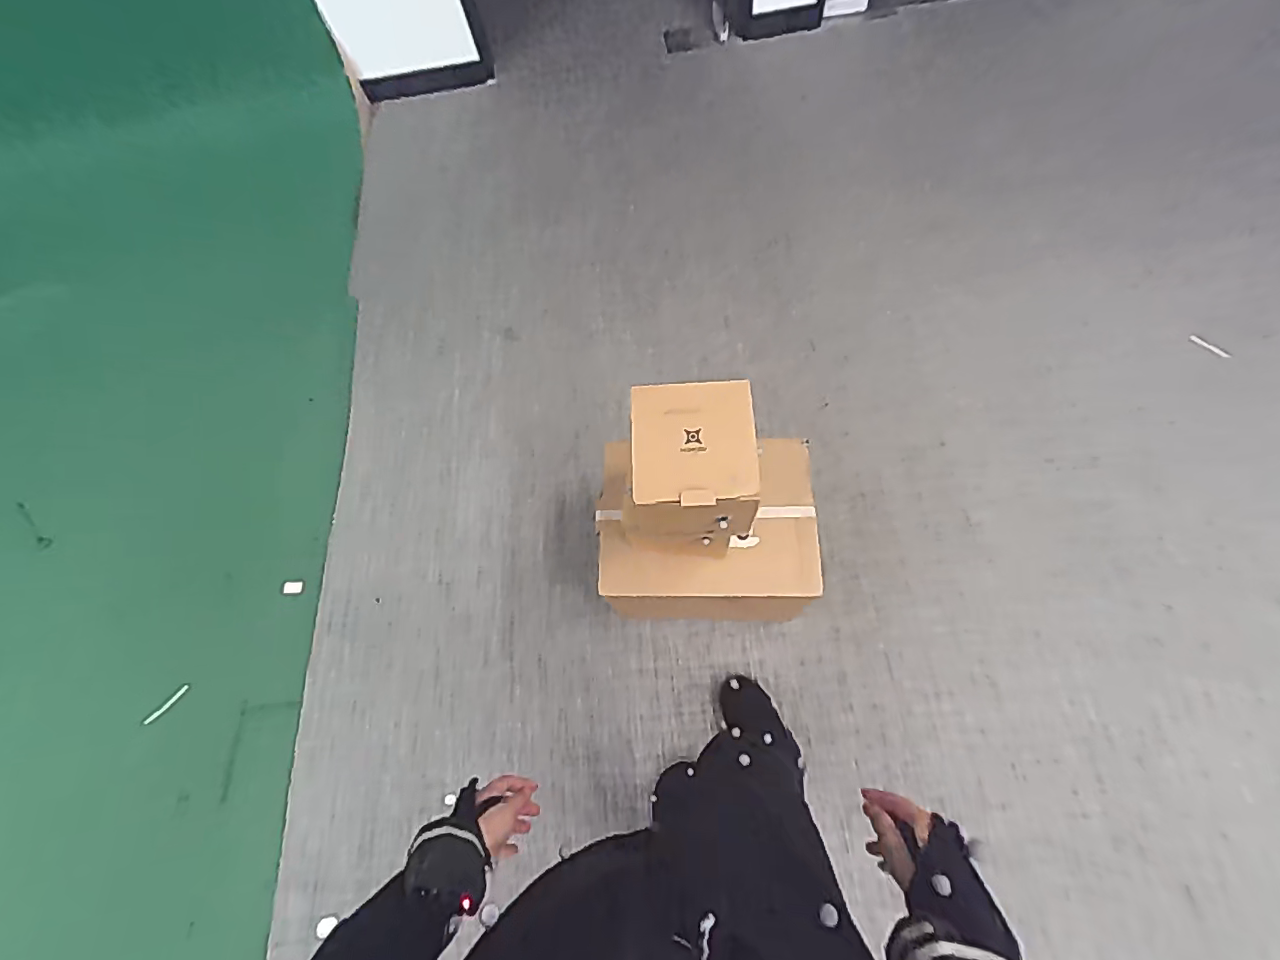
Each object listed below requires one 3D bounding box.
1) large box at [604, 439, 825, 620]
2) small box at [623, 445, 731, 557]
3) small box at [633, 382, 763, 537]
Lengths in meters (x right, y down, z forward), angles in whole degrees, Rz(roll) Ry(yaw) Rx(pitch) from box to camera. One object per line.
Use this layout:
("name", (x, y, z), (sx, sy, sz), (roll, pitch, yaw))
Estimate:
("large box", (0.140, 0.121, 1.160), (0.408, 0.320, 0.320), (-1, 69, 4))
("small box", (0.075, 0.031, 0.940), (0.179, 0.176, 0.168), (4, 68, 7))
("small box", (0.079, -0.020, 0.786), (0.168, 0.176, 0.179), (-3, 66, 2))
